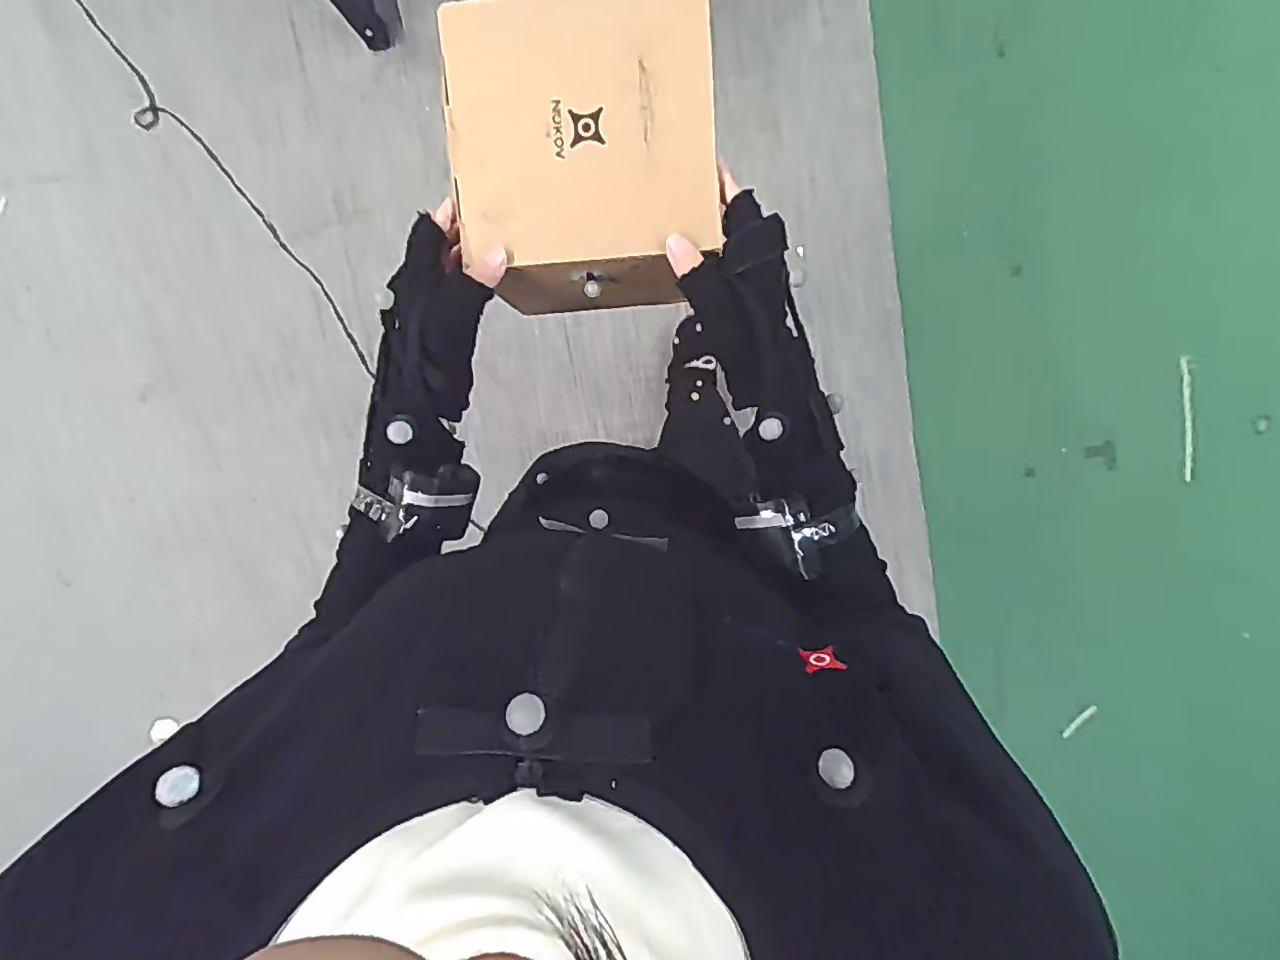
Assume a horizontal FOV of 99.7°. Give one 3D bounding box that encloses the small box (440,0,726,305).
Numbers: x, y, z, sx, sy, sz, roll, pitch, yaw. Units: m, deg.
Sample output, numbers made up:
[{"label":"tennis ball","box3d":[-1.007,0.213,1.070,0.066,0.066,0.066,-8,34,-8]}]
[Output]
[{"label":"small box","box3d":[-0.032,-0.243,0.429,0.179,0.176,0.168,-5,97,3]}]
